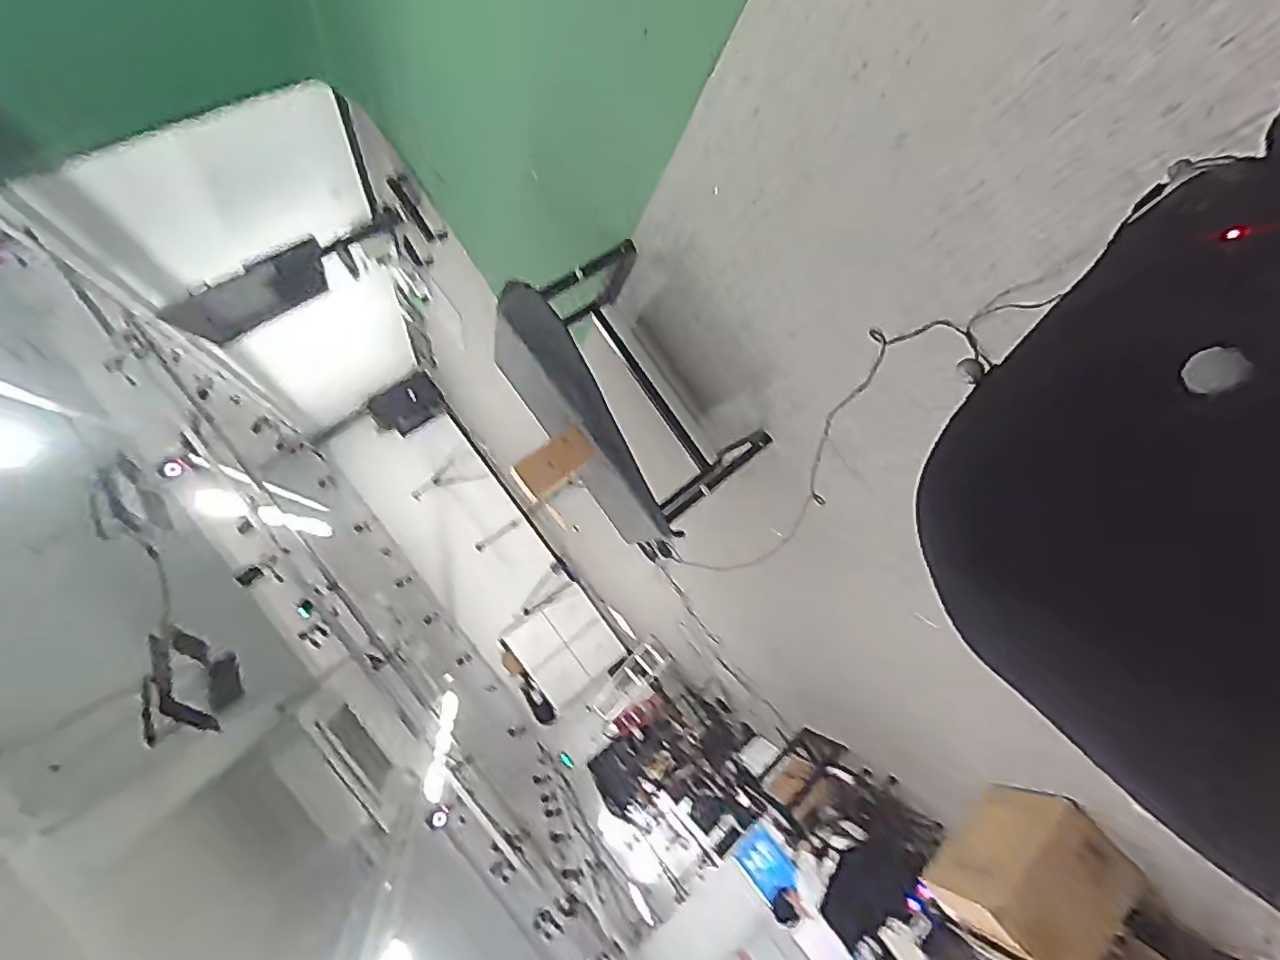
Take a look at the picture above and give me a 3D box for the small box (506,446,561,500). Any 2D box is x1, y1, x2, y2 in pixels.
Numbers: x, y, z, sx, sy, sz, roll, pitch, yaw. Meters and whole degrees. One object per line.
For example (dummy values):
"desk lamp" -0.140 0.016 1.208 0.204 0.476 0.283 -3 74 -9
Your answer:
"small box" -0.472 -0.035 2.391 0.179 0.176 0.168 54 163 -2

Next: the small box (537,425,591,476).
"small box" -0.347 -0.131 2.436 0.179 0.176 0.168 53 163 -3
